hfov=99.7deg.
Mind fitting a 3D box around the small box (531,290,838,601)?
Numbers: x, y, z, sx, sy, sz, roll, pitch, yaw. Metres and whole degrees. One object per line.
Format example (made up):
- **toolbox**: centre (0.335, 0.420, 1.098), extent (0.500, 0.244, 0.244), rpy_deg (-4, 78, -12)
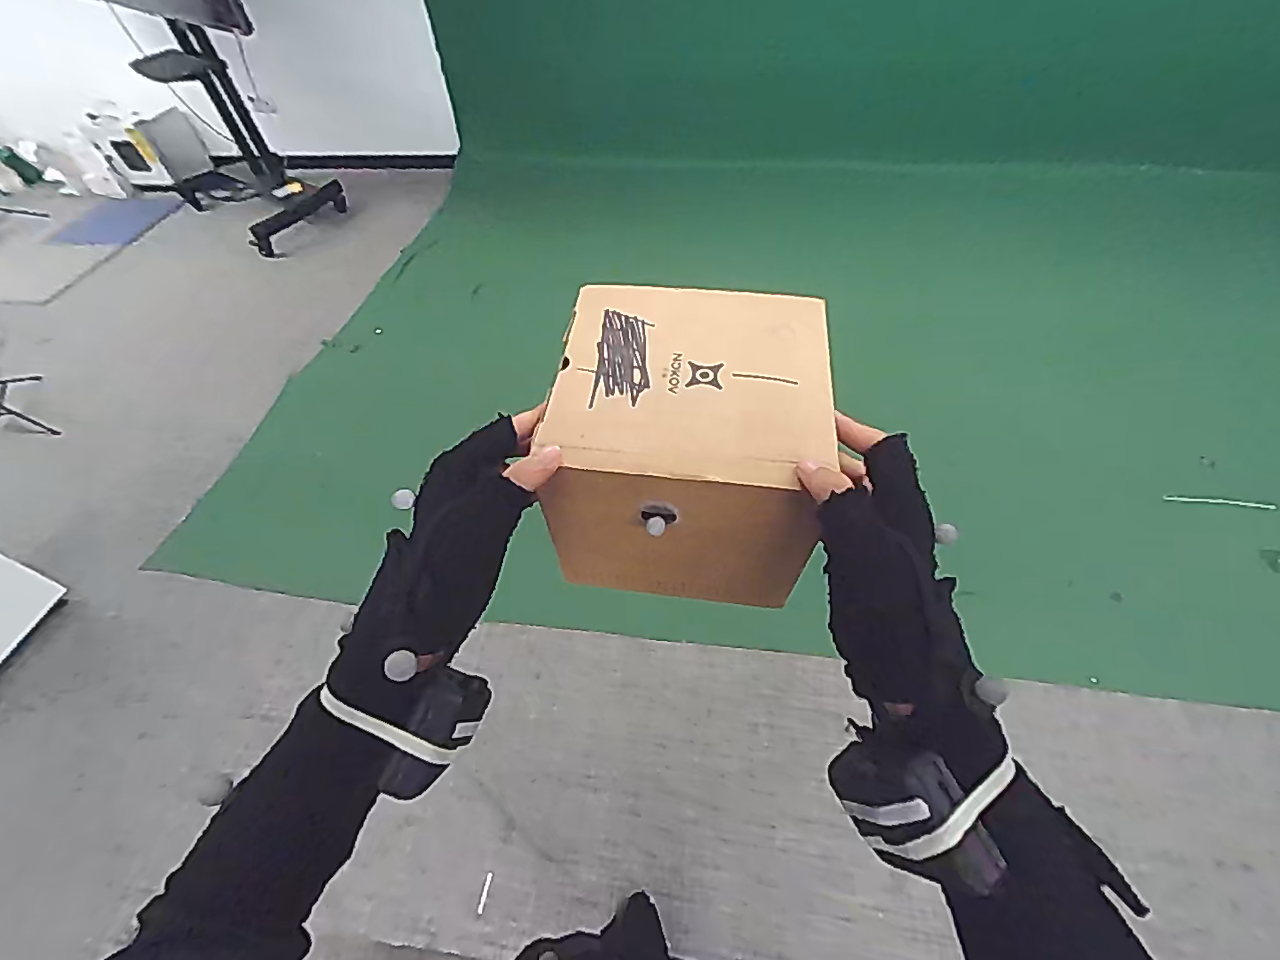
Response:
- **small box**: centre (0.035, -0.020, 0.411), extent (0.179, 0.176, 0.168), rpy_deg (5, 56, 5)
